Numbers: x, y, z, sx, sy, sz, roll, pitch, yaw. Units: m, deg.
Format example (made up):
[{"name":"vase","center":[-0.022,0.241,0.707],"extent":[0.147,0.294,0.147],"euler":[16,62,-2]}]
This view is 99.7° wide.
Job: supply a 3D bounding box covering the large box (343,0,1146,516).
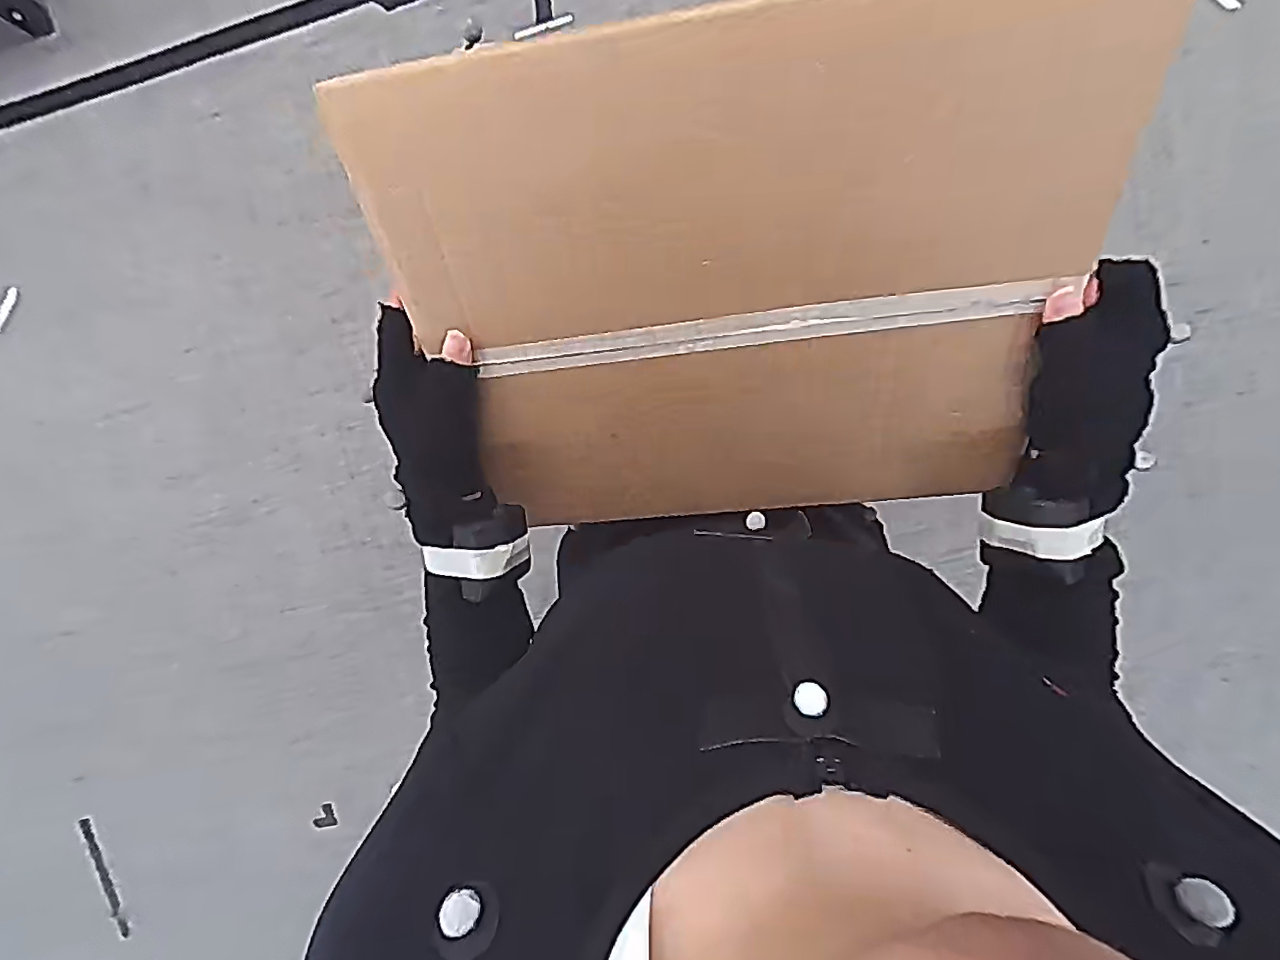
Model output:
[{"name":"large box","center":[0.062,-0.198,0.468],"extent":[0.408,0.320,0.320],"euler":[-5,130,7]}]
